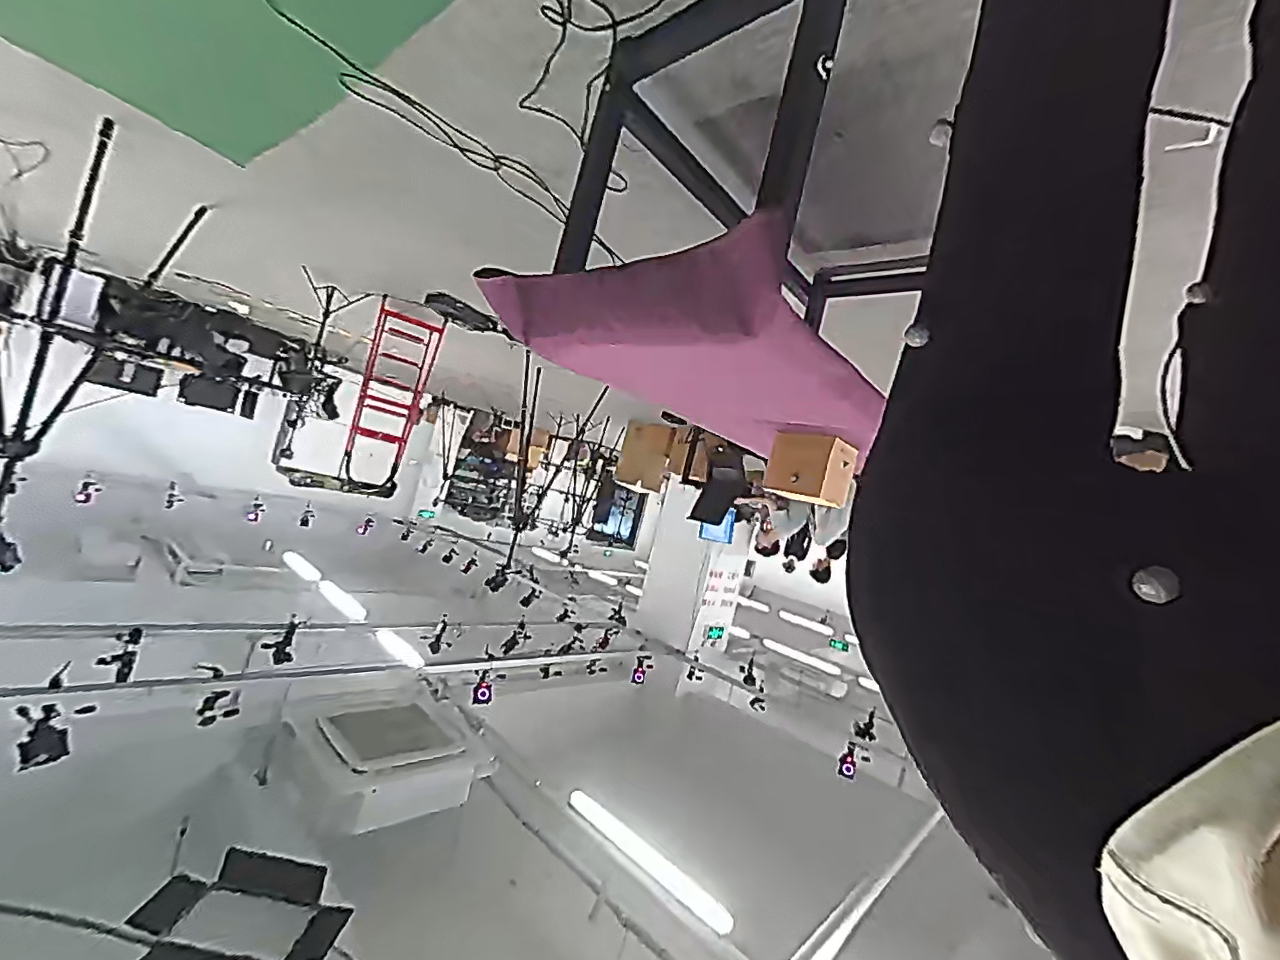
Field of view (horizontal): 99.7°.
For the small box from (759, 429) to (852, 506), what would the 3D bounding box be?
[{"bbox_3d":[0.458,-0.038,1.488,0.179,0.176,0.168,11,176,44],"label":"small box"}]
